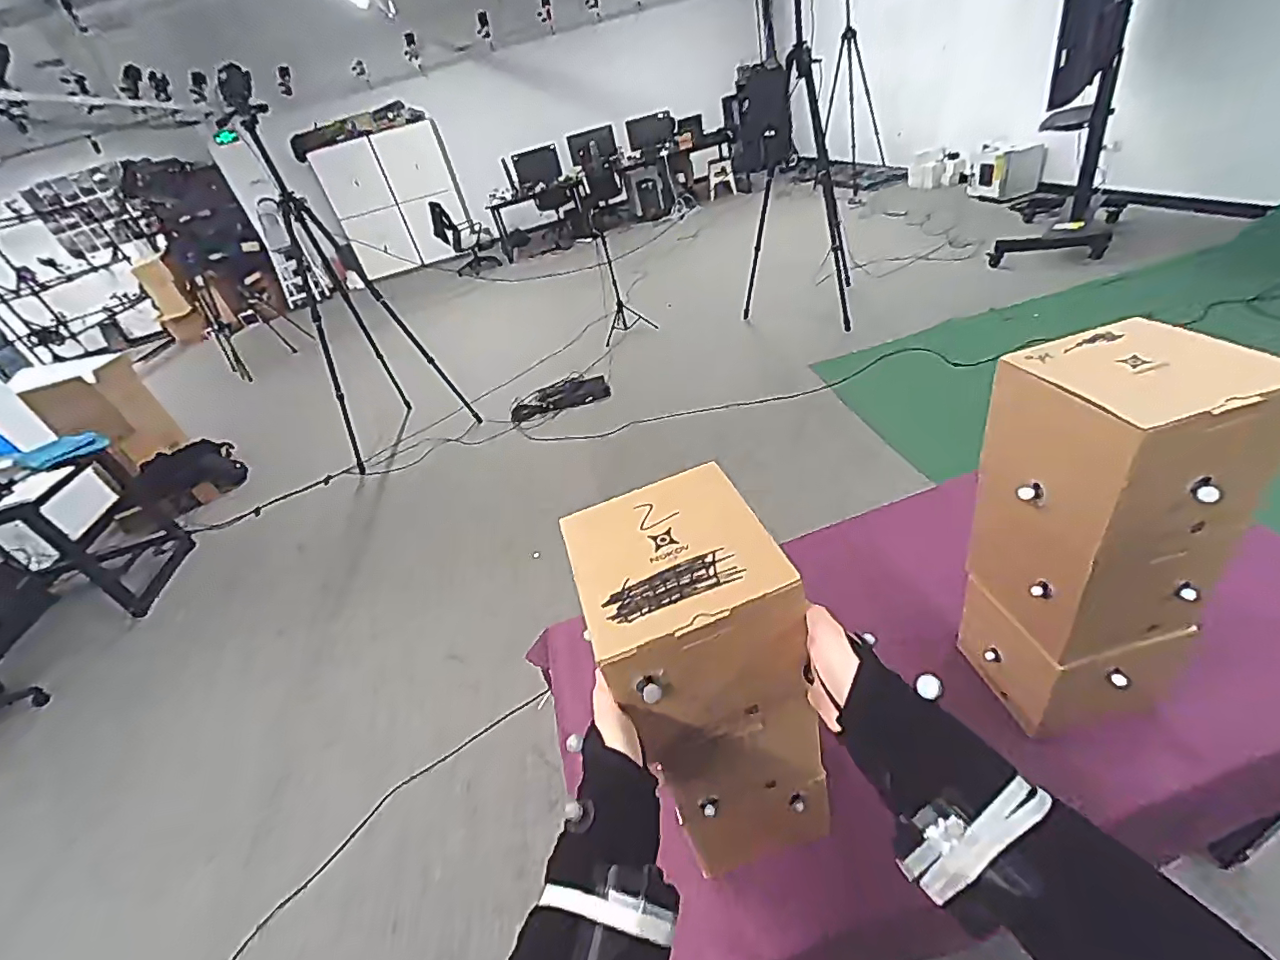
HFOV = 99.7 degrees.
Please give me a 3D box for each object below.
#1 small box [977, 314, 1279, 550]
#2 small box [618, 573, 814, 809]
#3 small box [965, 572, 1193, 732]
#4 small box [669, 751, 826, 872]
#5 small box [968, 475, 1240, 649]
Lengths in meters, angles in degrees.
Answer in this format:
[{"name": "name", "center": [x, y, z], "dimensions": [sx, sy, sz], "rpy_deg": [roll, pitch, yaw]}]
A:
[{"name": "small box", "center": [0.492, -0.047, 0.566], "dimensions": [0.168, 0.176, 0.179], "rpy_deg": [-16, 35, 0]}, {"name": "small box", "center": [0.087, 0.246, 0.627], "dimensions": [0.168, 0.176, 0.179], "rpy_deg": [-19, 33, -3]}, {"name": "small box", "center": [0.577, 0.215, 0.743], "dimensions": [0.179, 0.176, 0.168], "rpy_deg": [-17, 35, 1]}, {"name": "small box", "center": [0.129, 0.377, 0.716], "dimensions": [0.179, 0.176, 0.168], "rpy_deg": [-18, 34, -3]}, {"name": "small box", "center": [0.536, 0.082, 0.659], "dimensions": [0.168, 0.176, 0.179], "rpy_deg": [-16, 34, 1]}]
